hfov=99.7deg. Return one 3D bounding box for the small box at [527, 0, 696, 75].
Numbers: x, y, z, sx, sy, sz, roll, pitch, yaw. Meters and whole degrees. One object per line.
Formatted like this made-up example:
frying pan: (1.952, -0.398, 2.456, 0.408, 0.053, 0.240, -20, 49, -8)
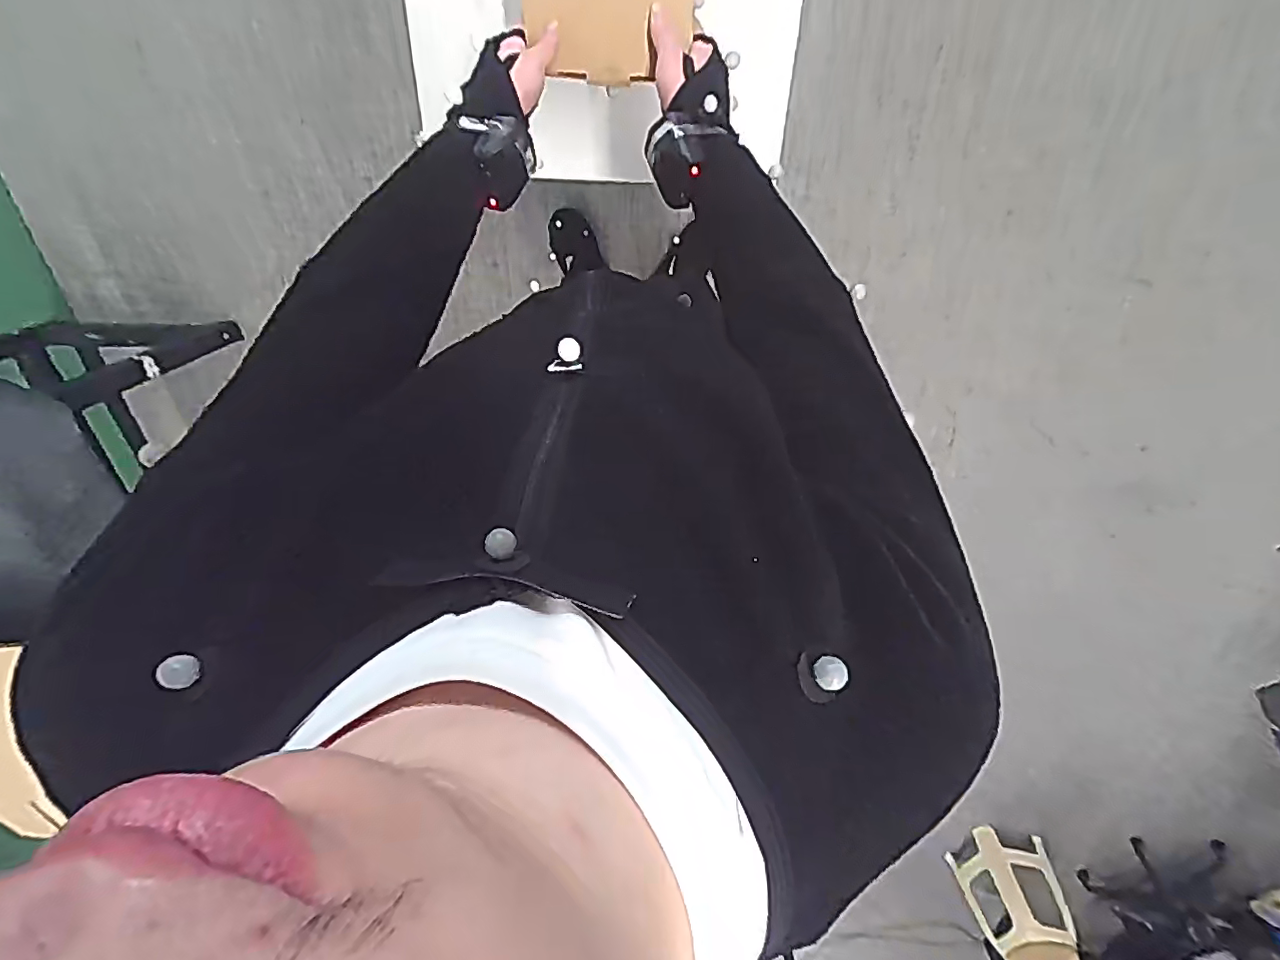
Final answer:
small box: (-0.023, -0.530, 0.560, 0.168, 0.176, 0.179, 1, 125, 1)
